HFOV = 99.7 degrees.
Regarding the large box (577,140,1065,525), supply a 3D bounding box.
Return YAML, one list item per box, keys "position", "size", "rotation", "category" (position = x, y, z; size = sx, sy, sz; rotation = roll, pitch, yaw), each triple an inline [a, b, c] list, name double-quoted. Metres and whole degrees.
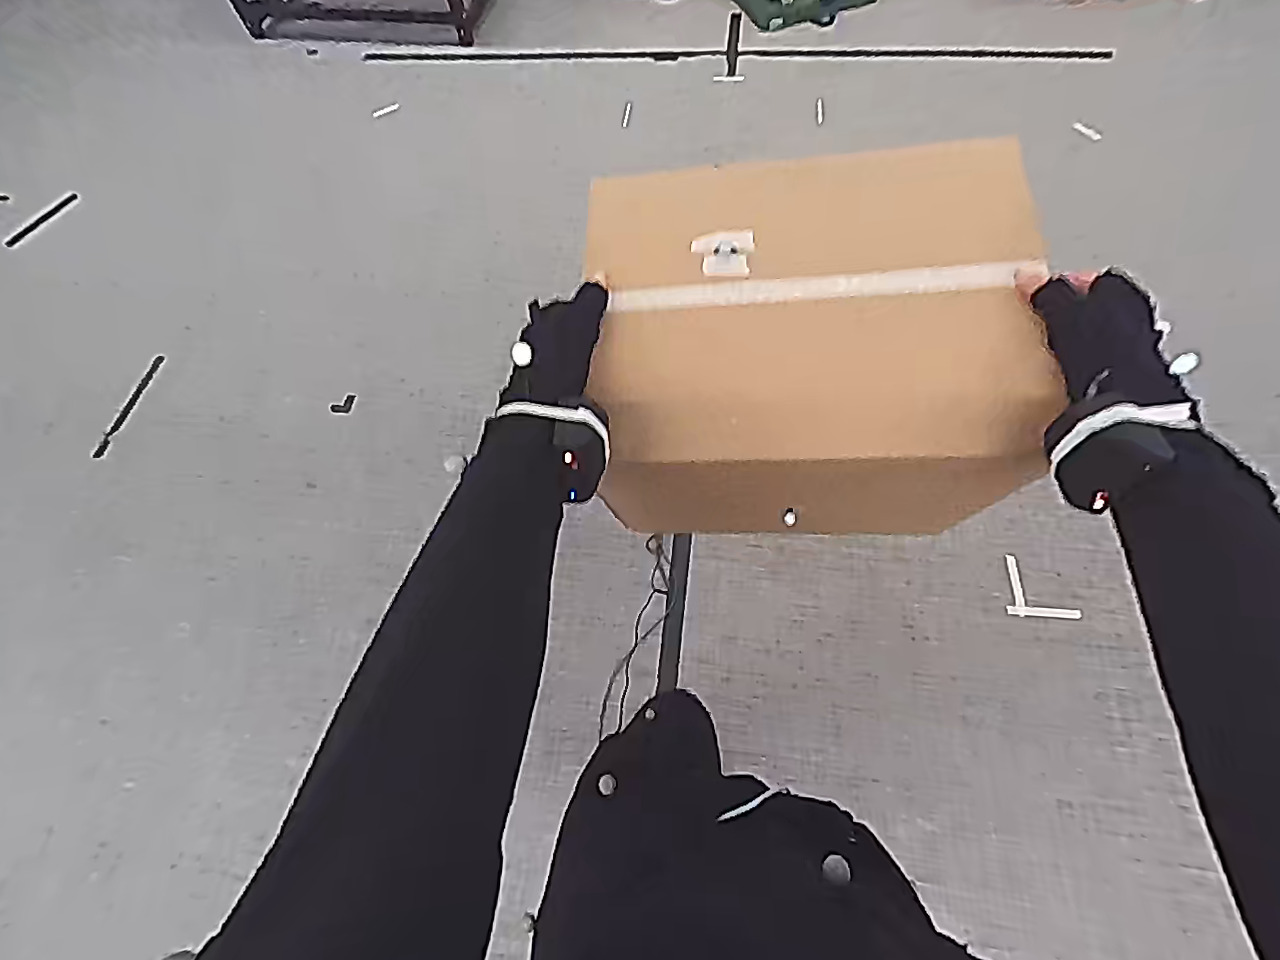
- position: [0.170, -0.126, 0.637]
  size: [0.408, 0.320, 0.320]
  rotation: [-1, 72, 11]
  category: "large box"
